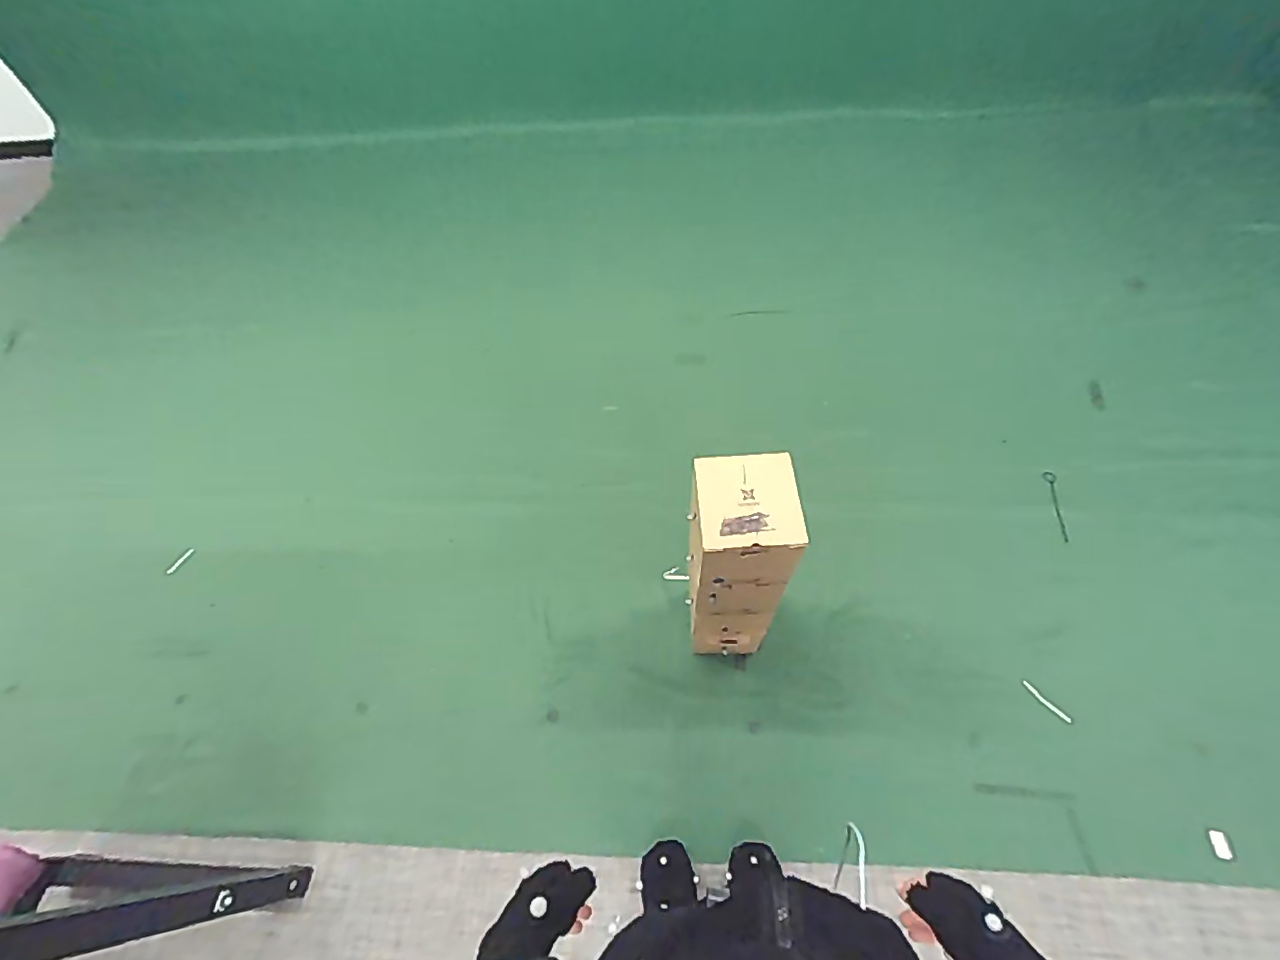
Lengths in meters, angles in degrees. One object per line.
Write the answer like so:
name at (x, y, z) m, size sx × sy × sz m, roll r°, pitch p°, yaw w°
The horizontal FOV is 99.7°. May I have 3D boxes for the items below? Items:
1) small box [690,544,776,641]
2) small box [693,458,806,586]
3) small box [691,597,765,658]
small box at (0.203, 0.257, 1.234) m, size 0.168 × 0.176 × 0.179 m, roll -3°, pitch 59°, yaw 2°
small box at (0.182, 0.082, 0.956) m, size 0.168 × 0.176 × 0.179 m, roll -3°, pitch 58°, yaw 1°
small box at (0.216, 0.342, 1.372) m, size 0.168 × 0.176 × 0.179 m, roll -2°, pitch 58°, yaw 4°
